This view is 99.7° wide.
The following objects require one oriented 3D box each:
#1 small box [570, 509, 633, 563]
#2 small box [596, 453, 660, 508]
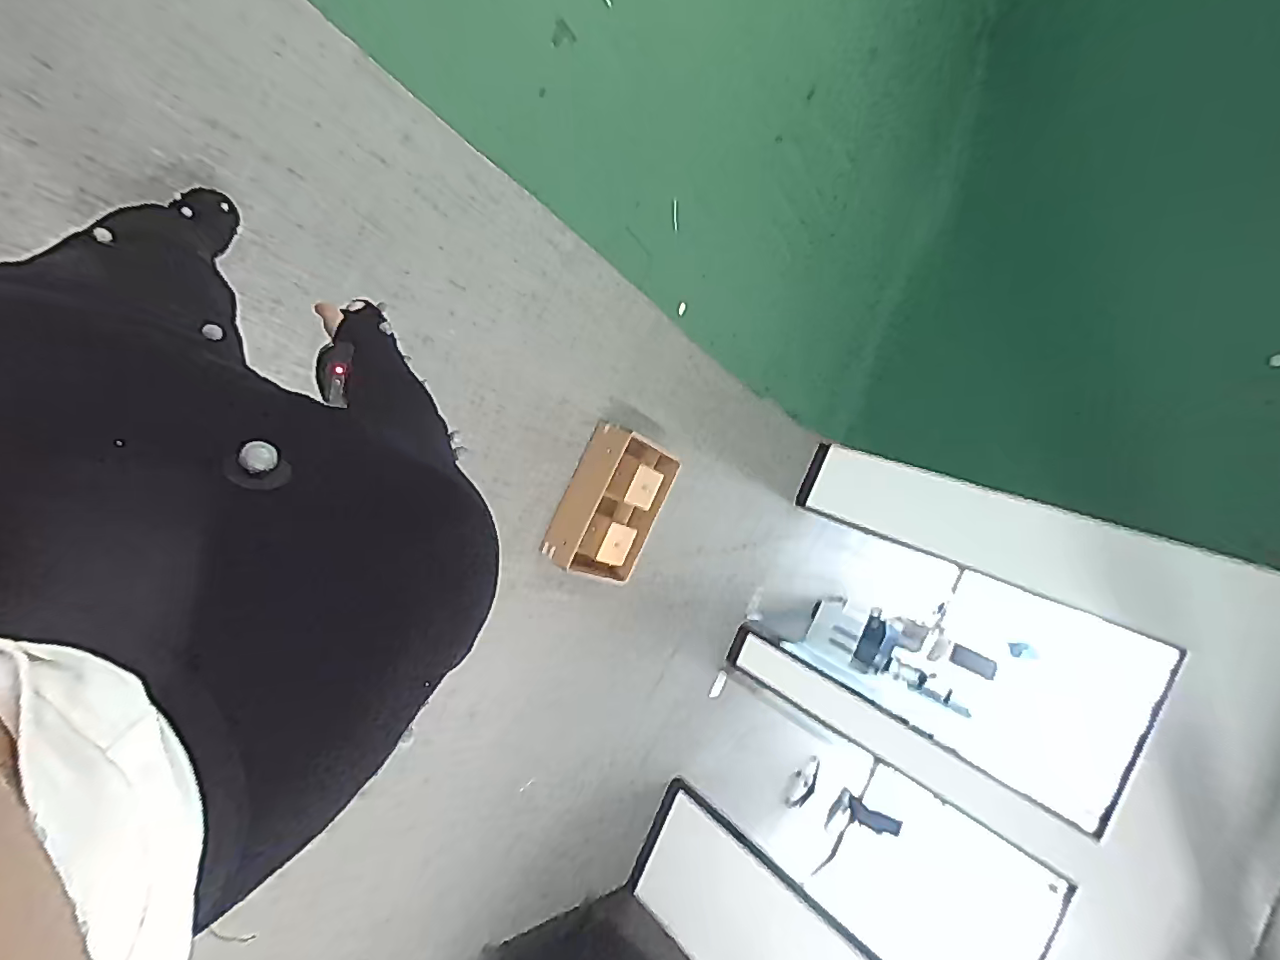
[{"bbox_3d":[-0.167,0.235,2.284,0.179,0.176,0.168,24,89,-50],"label":"small box"},{"bbox_3d":[-0.055,-0.003,2.286,0.179,0.176,0.168,24,91,-50],"label":"small box"}]
